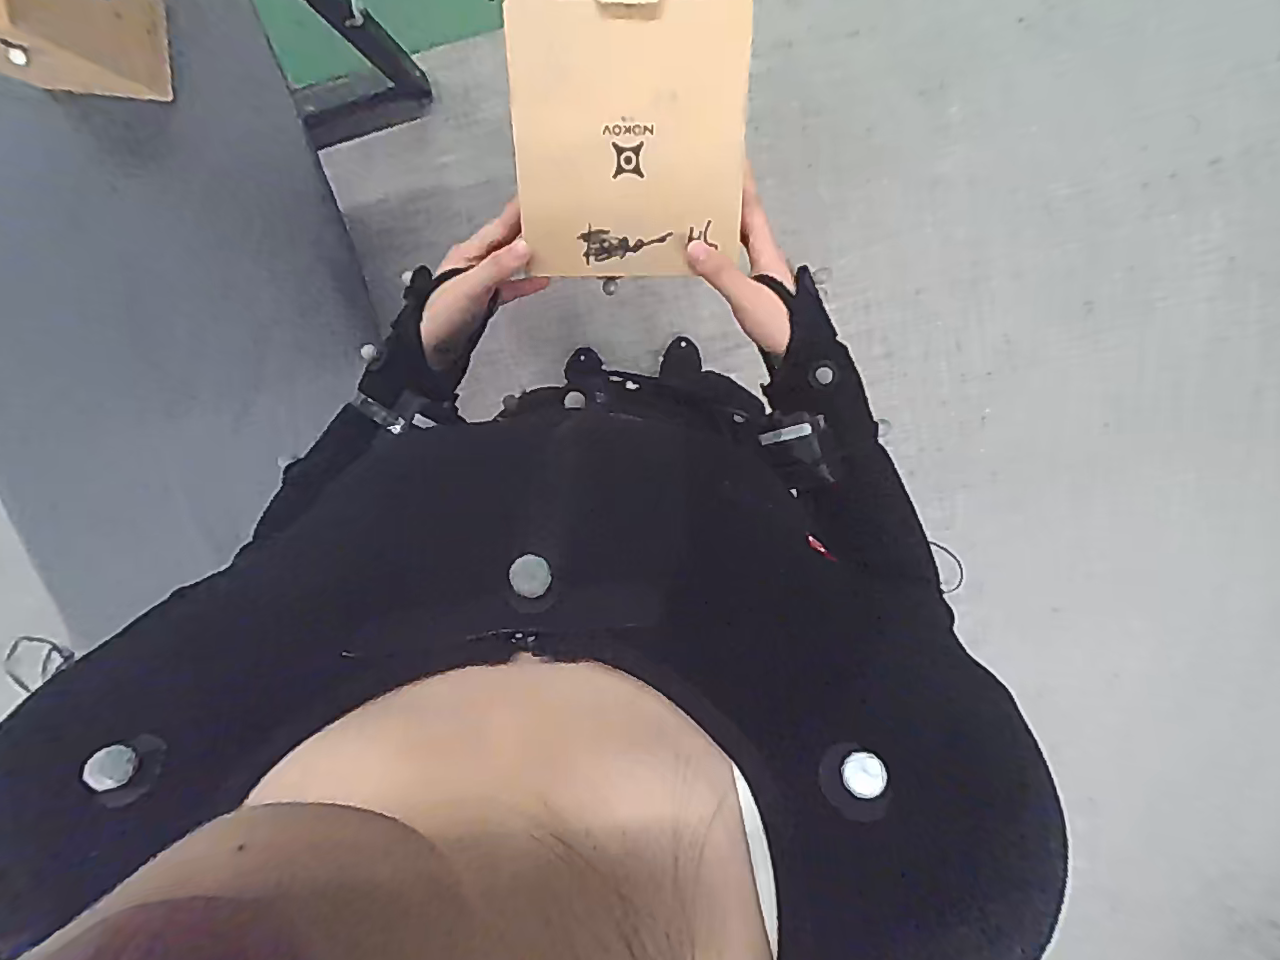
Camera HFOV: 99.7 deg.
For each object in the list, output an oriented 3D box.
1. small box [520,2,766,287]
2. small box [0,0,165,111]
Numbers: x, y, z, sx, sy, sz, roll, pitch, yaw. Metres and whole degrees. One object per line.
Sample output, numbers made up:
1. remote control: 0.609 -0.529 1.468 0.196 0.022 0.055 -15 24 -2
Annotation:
1. small box: 0.001 -0.257 0.456 0.168 0.176 0.179 0 112 0
2. small box: -0.641 -0.511 0.559 0.179 0.176 0.168 8 104 3
